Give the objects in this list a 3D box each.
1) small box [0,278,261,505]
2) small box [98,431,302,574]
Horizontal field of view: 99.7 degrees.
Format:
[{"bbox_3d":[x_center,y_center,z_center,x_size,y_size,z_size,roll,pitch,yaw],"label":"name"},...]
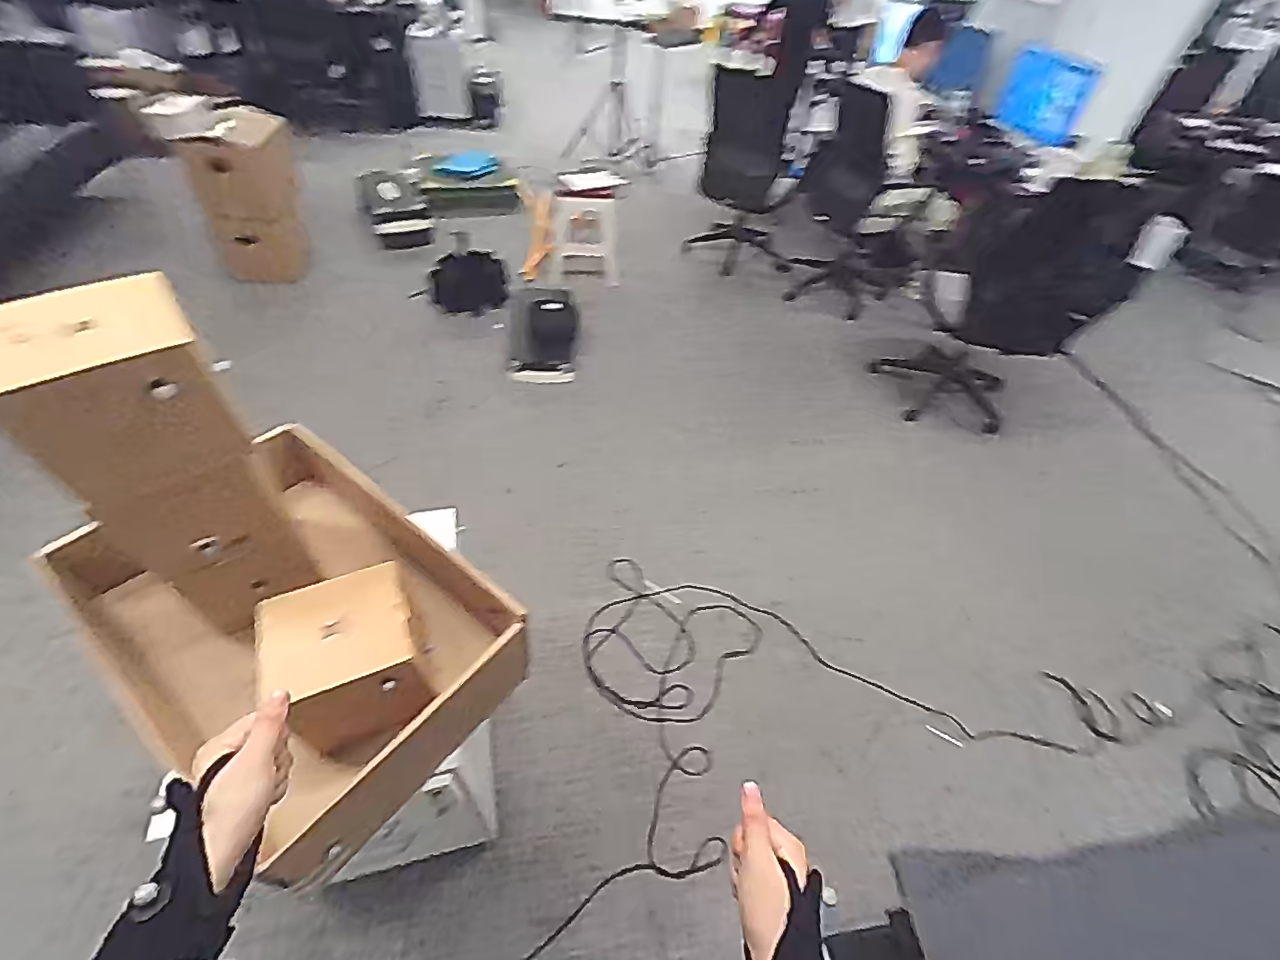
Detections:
[{"bbox_3d":[-0.585,-0.104,0.637,0.179,0.176,0.168,-30,57,-27],"label":"small box"},{"bbox_3d":[-0.615,-0.001,0.764,0.168,0.176,0.179,-27,58,-25],"label":"small box"}]
